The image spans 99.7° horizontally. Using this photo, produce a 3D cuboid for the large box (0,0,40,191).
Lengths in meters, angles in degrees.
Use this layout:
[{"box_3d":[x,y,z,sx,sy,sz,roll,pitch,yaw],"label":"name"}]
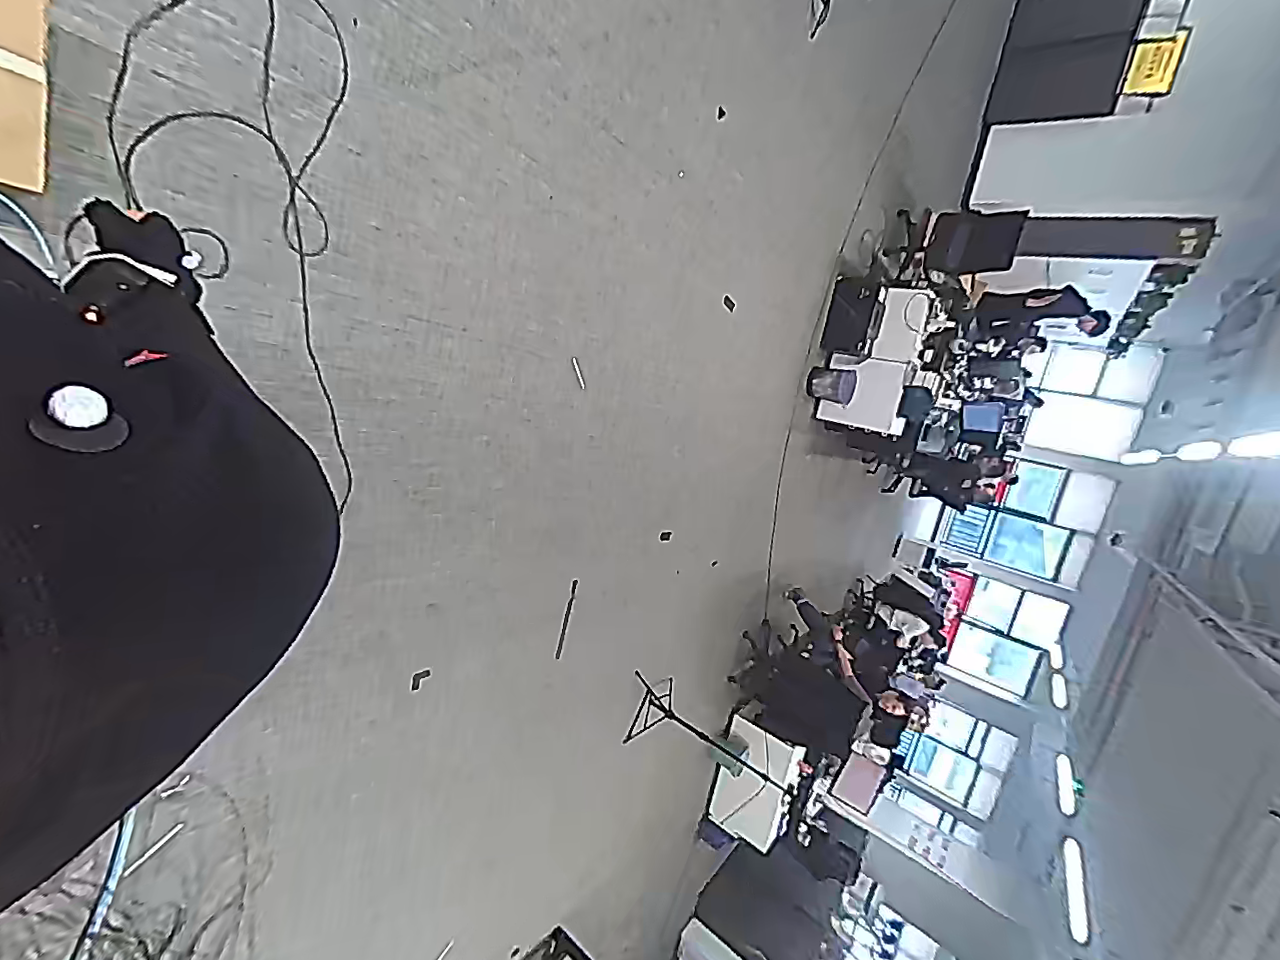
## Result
[{"box_3d":[-1.065,-0.600,0.667,0.408,0.320,0.320,-2,108,-55],"label":"large box"}]
